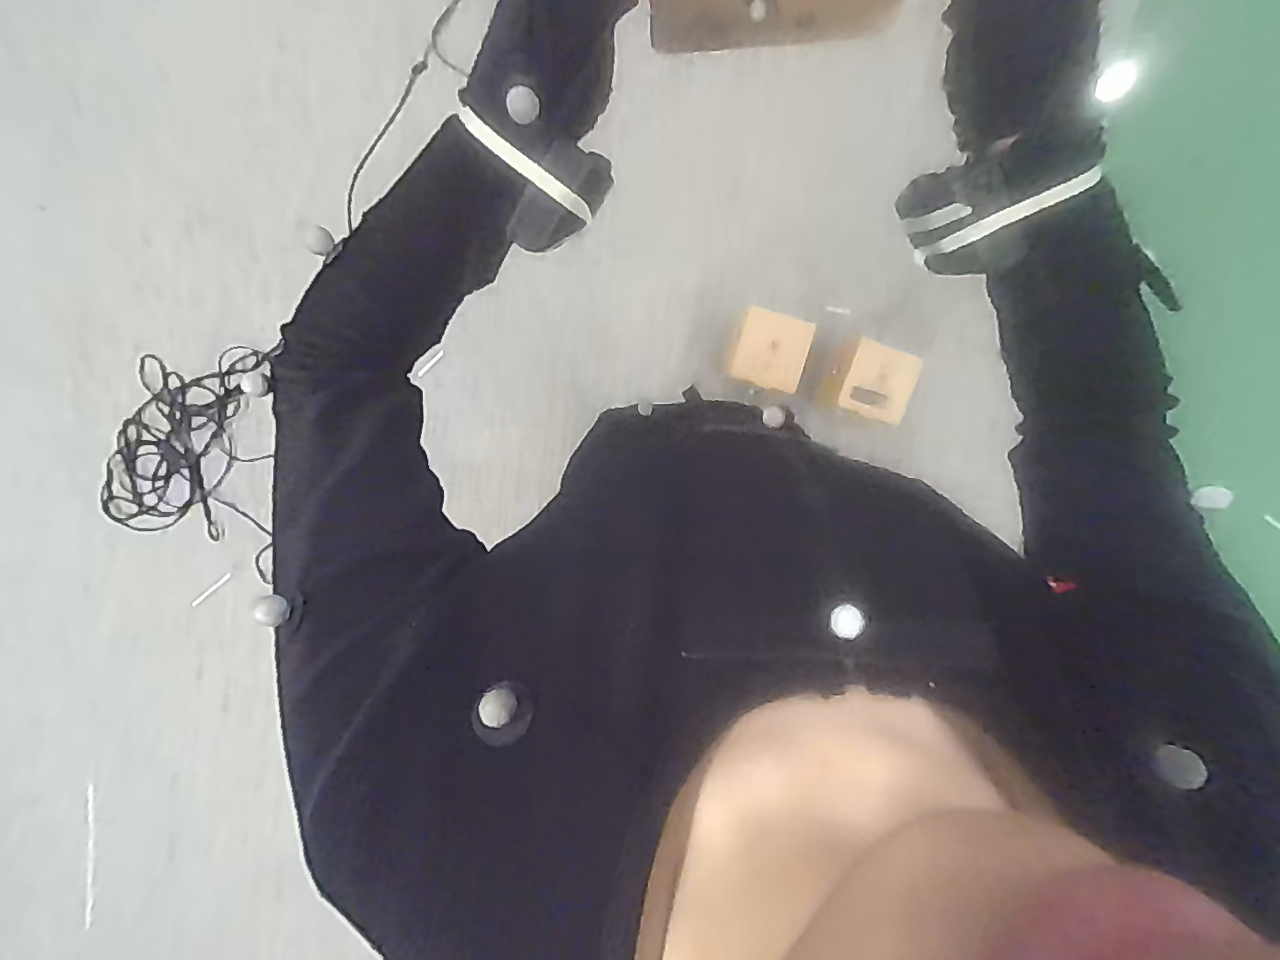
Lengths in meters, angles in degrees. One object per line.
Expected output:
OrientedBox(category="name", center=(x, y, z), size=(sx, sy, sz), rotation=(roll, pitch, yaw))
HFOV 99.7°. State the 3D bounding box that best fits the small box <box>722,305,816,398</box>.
OrientedBox(category="small box", center=(0.314, -0.315, 1.356), size=(0.168, 0.176, 0.179), rotation=(17, 96, -1))
